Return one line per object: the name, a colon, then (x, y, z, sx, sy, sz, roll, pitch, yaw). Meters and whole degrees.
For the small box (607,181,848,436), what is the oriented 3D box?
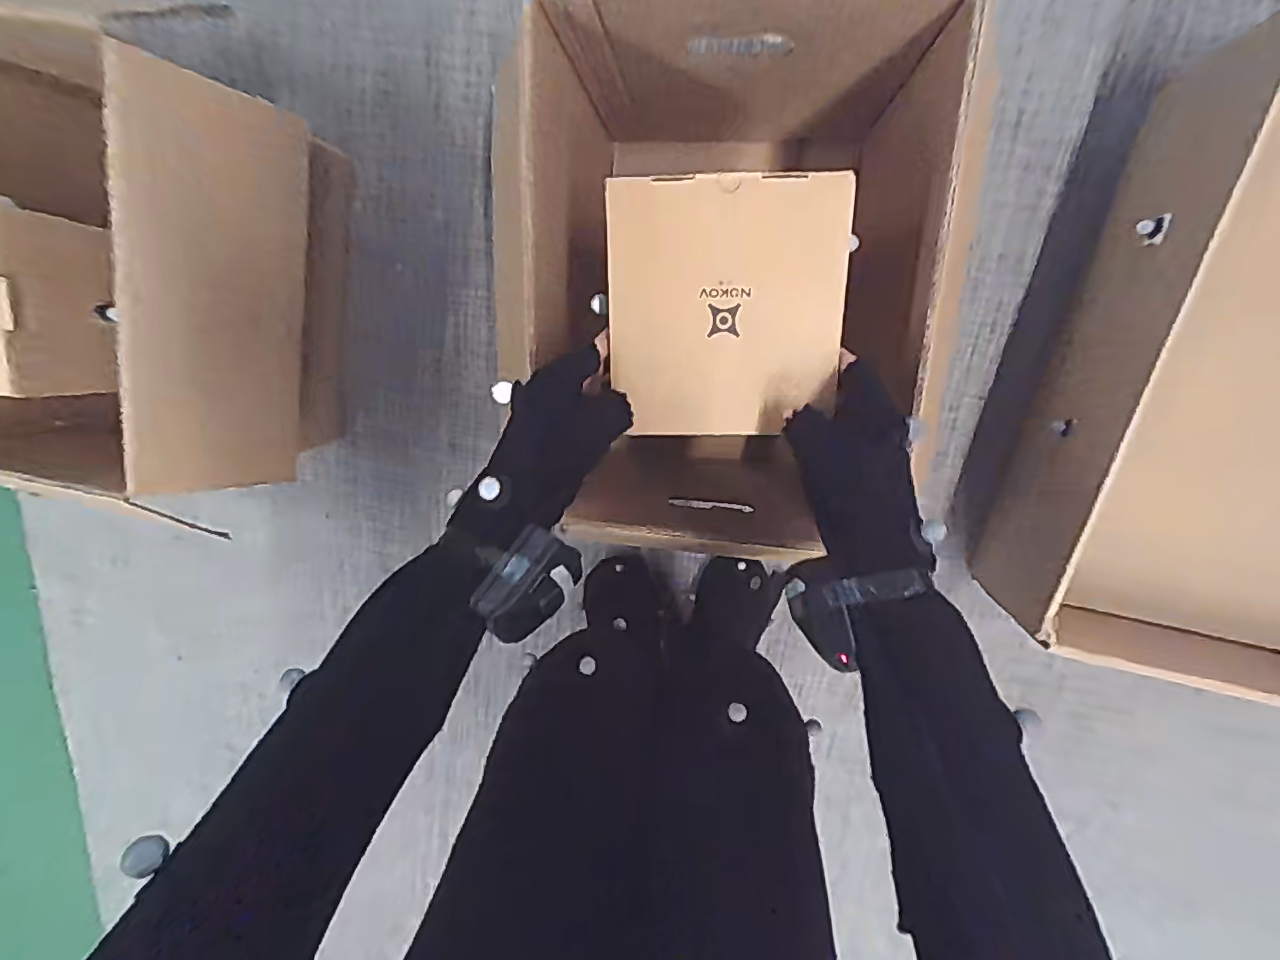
small box: (0.065, -0.140, 0.466, 0.168, 0.176, 0.179, 0, 106, 4)
